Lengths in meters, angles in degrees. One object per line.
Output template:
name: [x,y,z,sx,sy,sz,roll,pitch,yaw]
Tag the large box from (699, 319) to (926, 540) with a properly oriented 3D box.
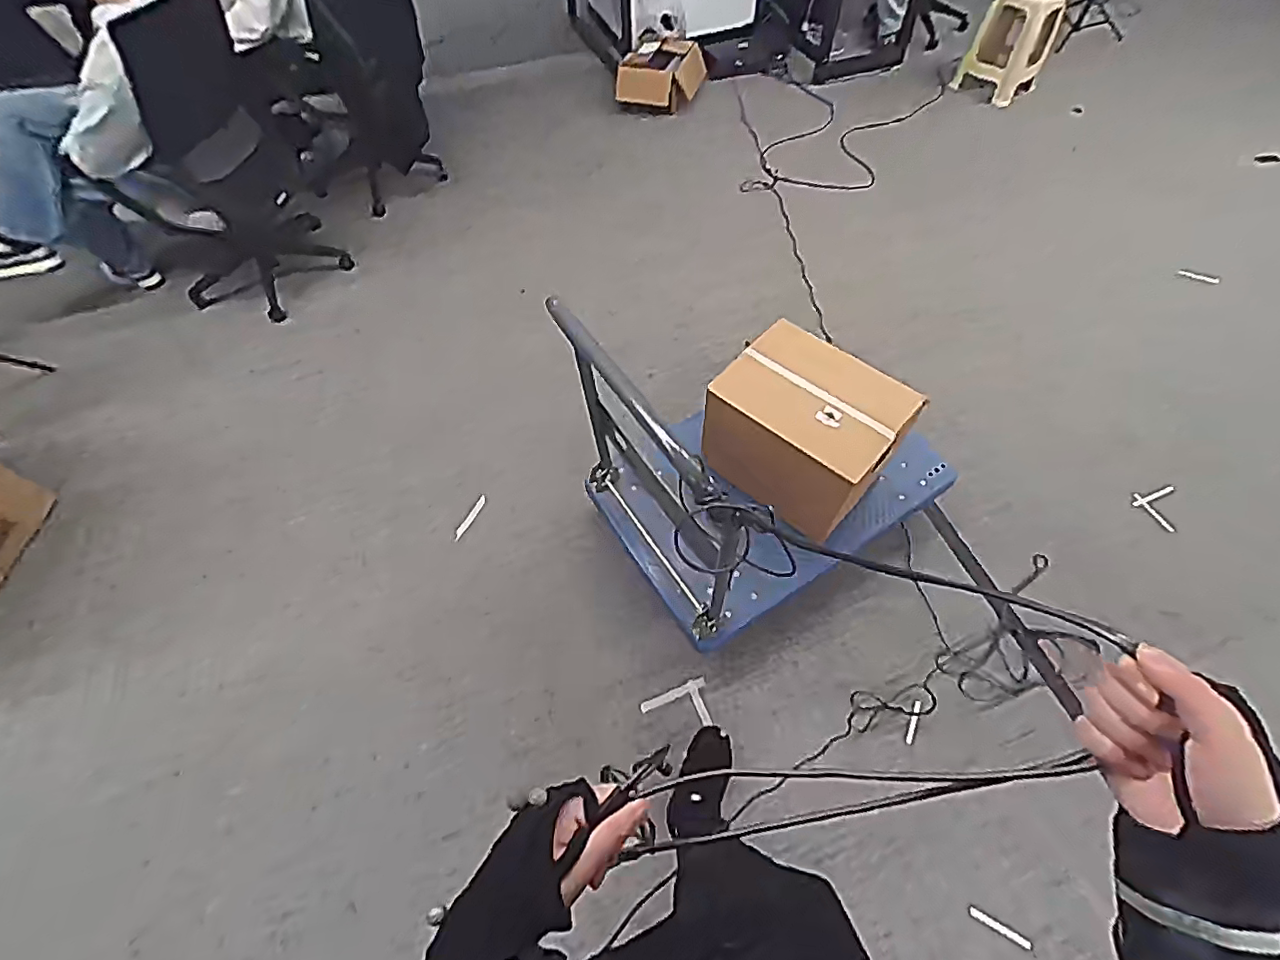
large box: [0.404,-0.126,1.367,0.408,0.320,0.320,38,68,21]
